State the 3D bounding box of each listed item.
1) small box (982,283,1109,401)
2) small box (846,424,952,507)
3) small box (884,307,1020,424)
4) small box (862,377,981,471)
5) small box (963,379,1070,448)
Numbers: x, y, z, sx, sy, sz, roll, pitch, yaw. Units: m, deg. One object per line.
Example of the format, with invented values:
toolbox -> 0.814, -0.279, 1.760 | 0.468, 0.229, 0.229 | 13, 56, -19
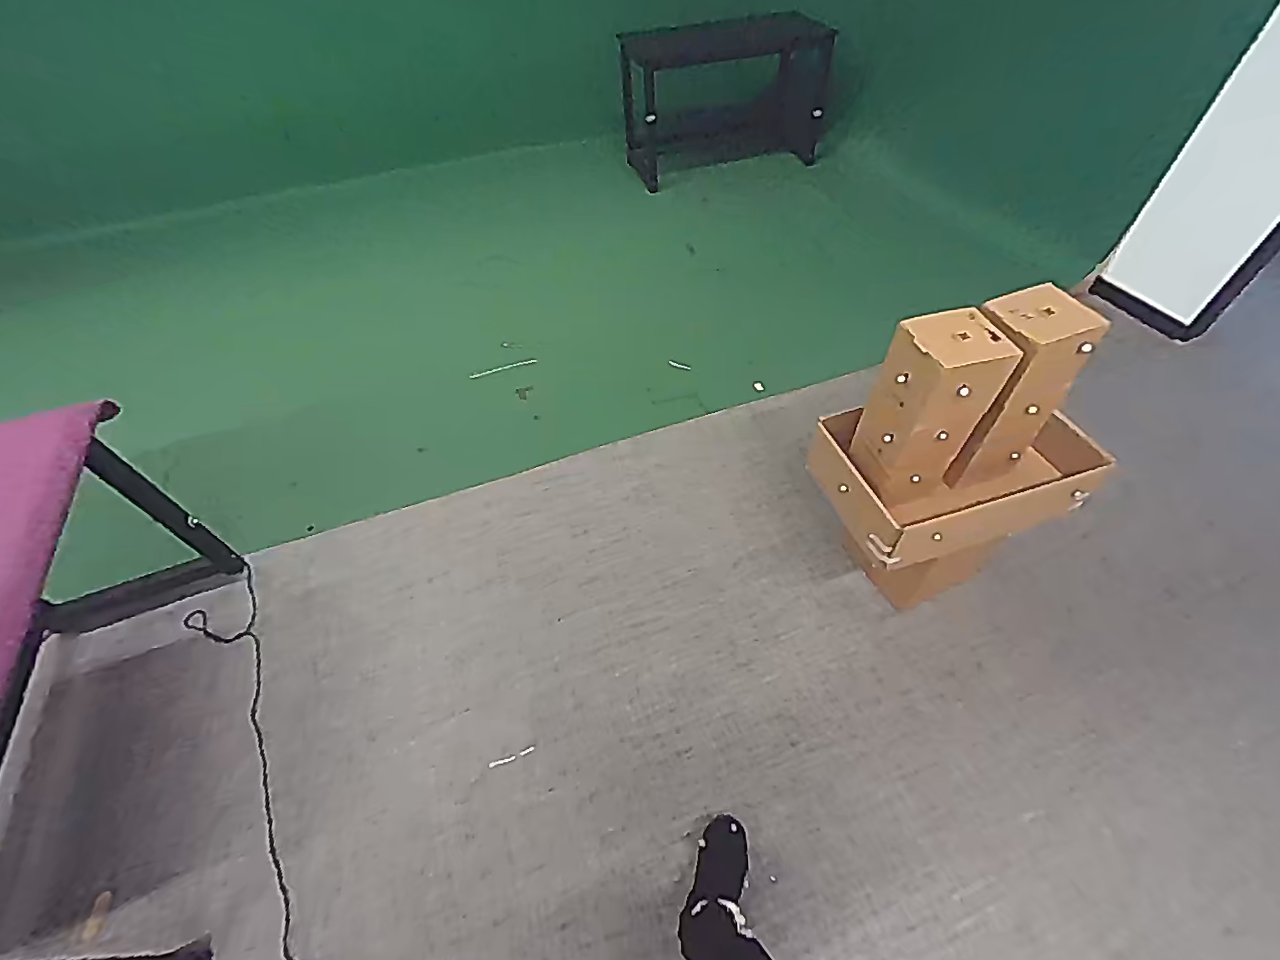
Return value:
small box -> 0.857, -0.303, 1.200 | 0.179, 0.176, 0.168 | -18, 52, -8
small box -> 0.667, -0.050, 1.423 | 0.179, 0.176, 0.168 | -14, 52, -9
small box -> 0.649, -0.241, 1.159 | 0.179, 0.176, 0.168 | -12, 53, -6
small box -> 0.654, -0.142, 1.290 | 0.179, 0.176, 0.168 | -12, 53, -7
small box -> 0.884, -0.205, 1.332 | 0.179, 0.176, 0.168 | -17, 53, -7
